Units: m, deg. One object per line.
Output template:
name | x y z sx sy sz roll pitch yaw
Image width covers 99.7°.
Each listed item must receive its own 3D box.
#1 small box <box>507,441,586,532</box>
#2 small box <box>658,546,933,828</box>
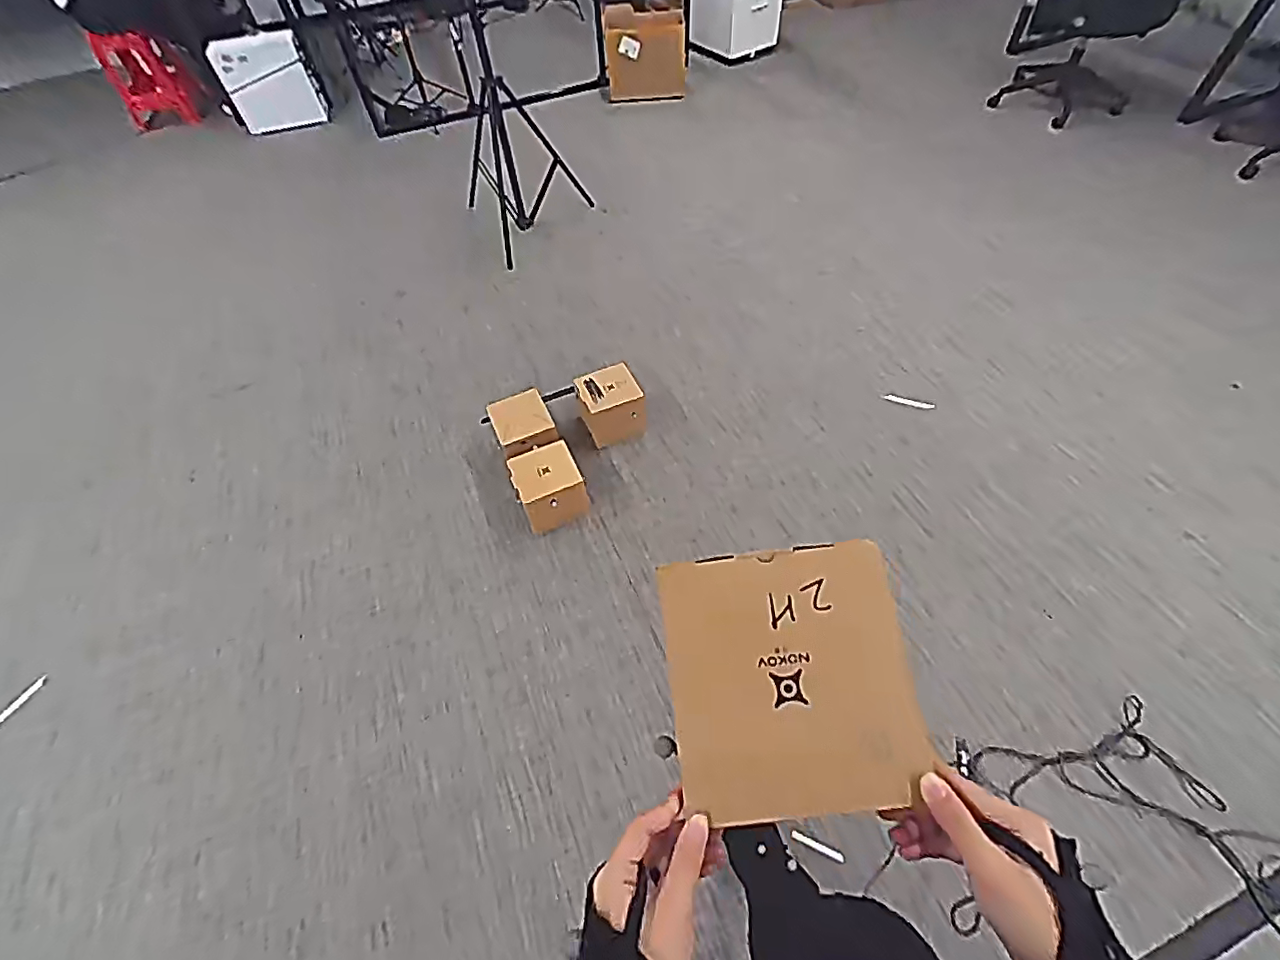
small box | -0.262 0.022 1.560 0.179 0.176 0.168 -22 57 -11
small box | 0.109 0.163 0.455 0.168 0.176 0.179 -7 71 2
